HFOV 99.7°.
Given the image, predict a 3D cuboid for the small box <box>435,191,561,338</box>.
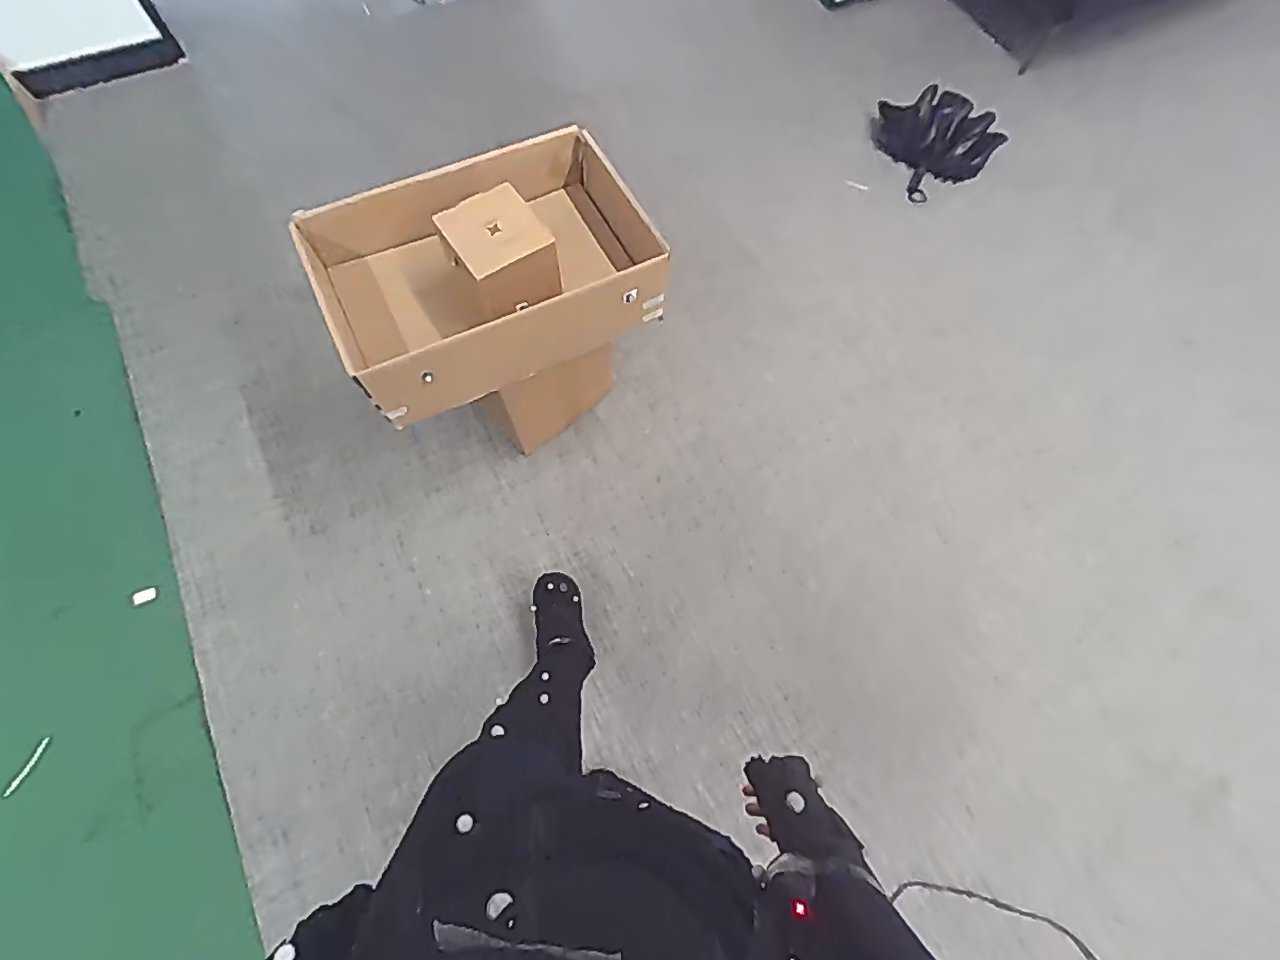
[{"bbox_3d":[-0.273,-0.421,1.072,0.168,0.176,0.179,-33,74,-13],"label":"small box"}]
